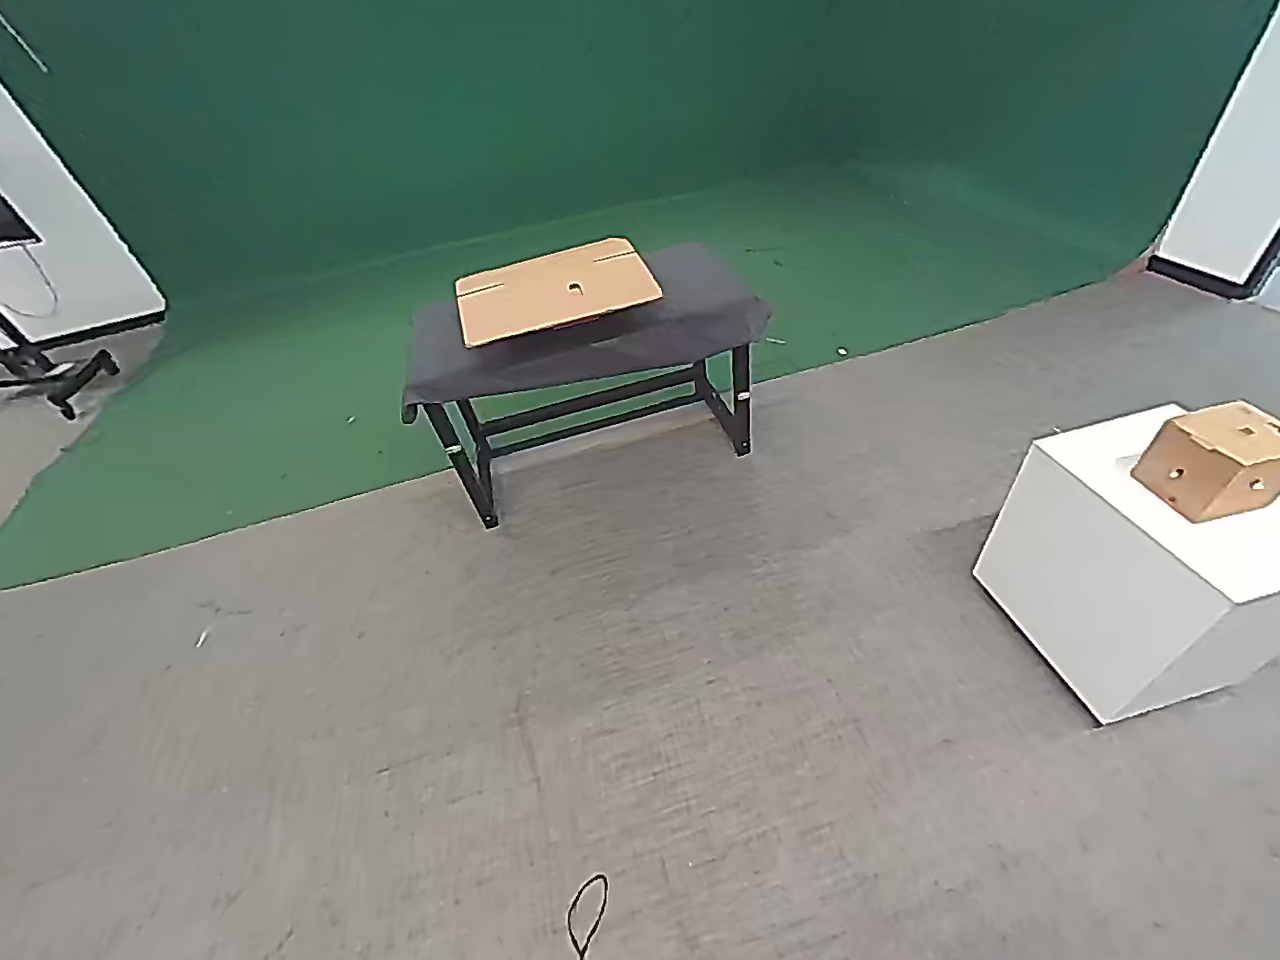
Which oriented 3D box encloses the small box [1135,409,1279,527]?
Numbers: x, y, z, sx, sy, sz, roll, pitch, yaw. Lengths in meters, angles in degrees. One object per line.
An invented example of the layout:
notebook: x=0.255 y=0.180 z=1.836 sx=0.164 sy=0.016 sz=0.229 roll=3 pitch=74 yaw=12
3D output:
small box: x=1.215 y=-0.022 z=1.147 sx=0.179 sy=0.176 sz=0.168 roll=-14 pitch=42 yaw=-5
